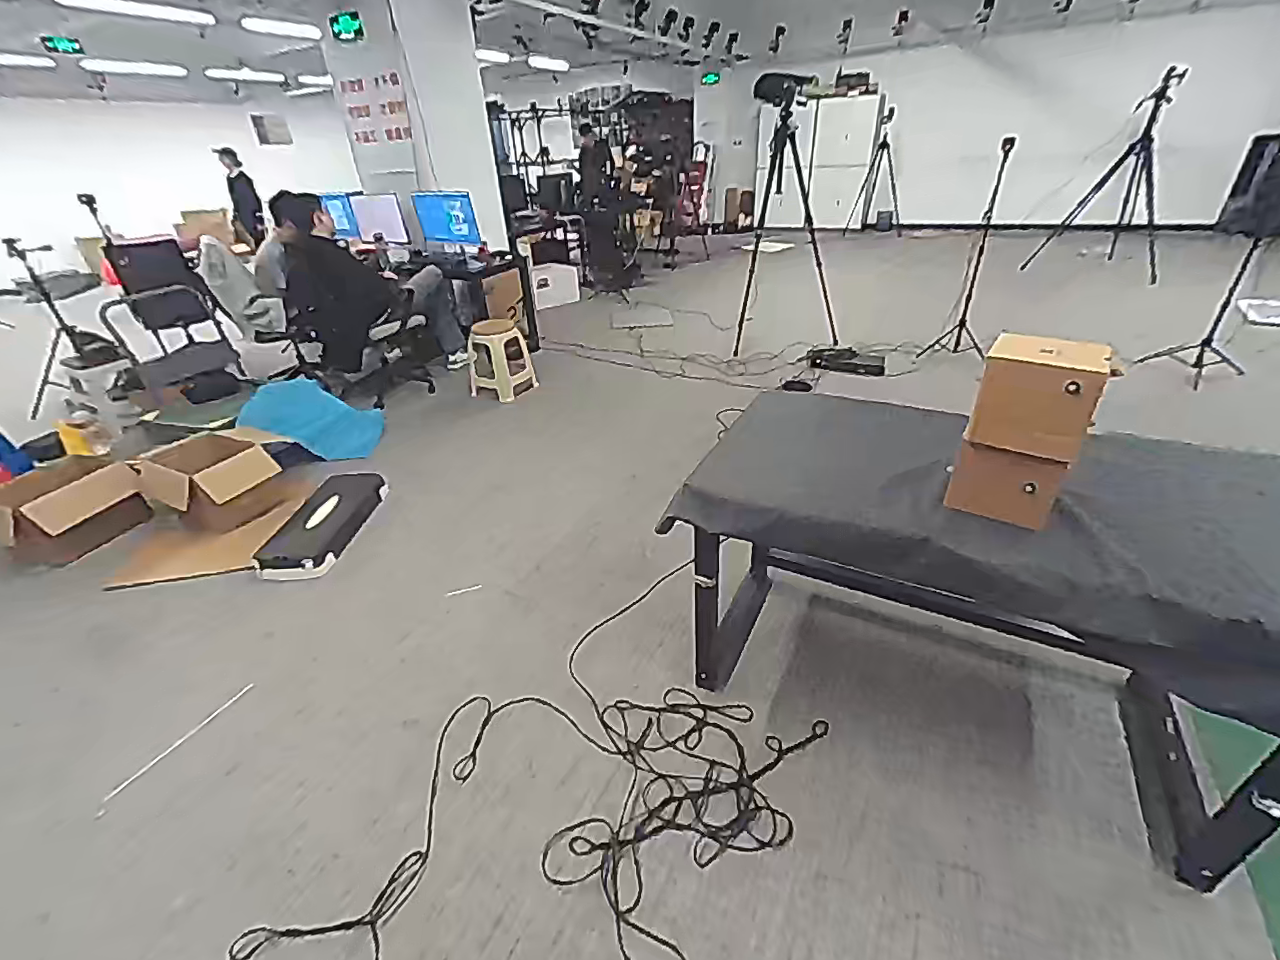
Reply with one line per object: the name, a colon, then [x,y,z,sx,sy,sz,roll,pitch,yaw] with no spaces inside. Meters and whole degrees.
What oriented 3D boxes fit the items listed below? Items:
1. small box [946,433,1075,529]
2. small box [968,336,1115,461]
small box: [0.748,-0.023,1.092,0.179,0.176,0.168,18,36,32]
small box: [0.730,-0.152,0.993,0.179,0.176,0.168,20,37,33]
